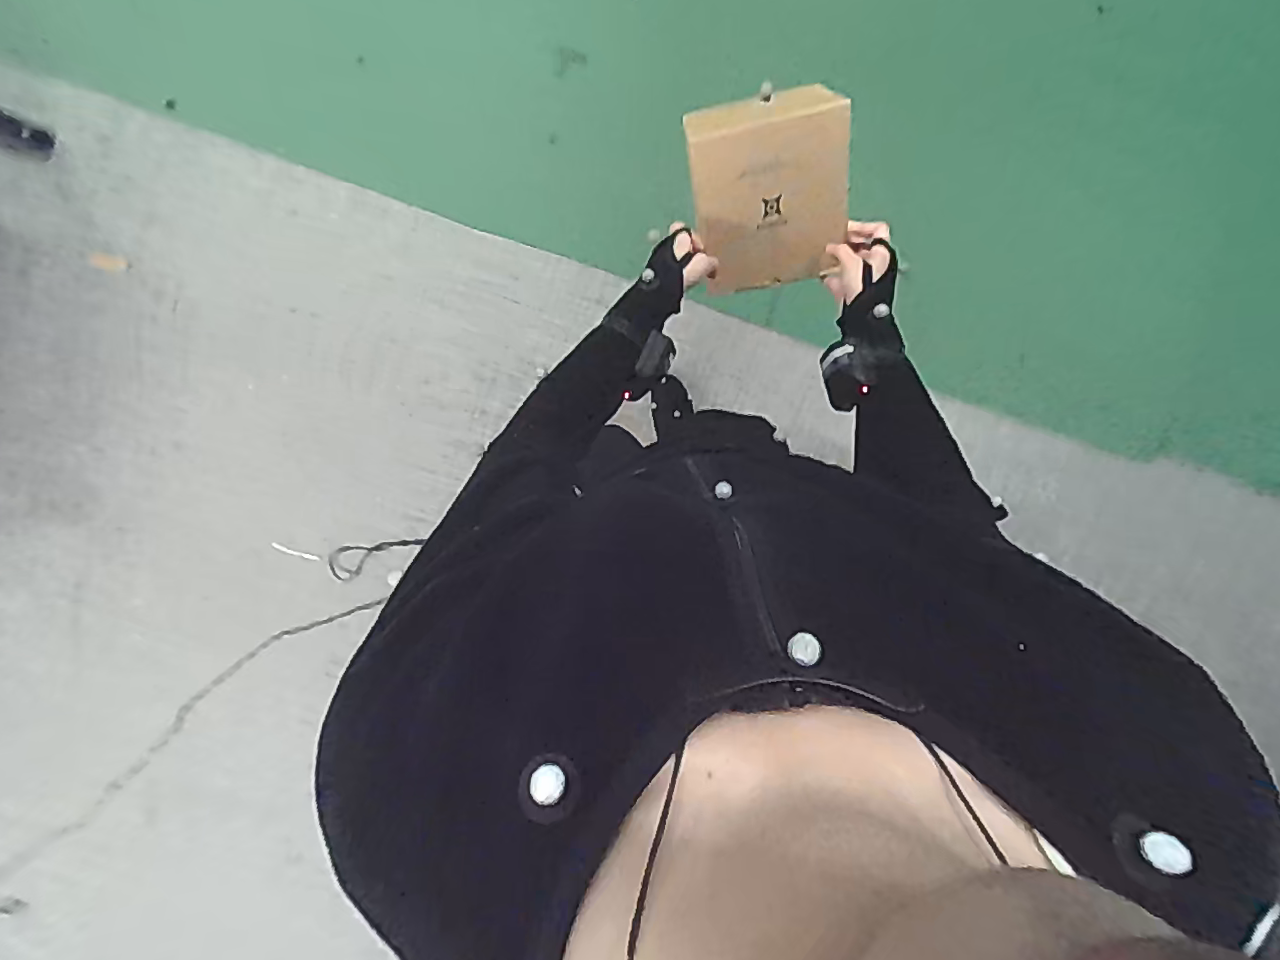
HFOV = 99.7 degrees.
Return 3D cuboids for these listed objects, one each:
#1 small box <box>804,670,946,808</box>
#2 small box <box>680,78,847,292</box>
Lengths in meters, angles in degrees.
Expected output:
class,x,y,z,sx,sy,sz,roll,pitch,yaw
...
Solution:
class,x,y,z,sx,sy,sz,roll,pitch,yaw
small box,0.458,0.506,1.080,0.179,0.176,0.168,17,97,-3
small box,0.144,-0.359,0.657,0.168,0.176,0.179,-9,130,9
